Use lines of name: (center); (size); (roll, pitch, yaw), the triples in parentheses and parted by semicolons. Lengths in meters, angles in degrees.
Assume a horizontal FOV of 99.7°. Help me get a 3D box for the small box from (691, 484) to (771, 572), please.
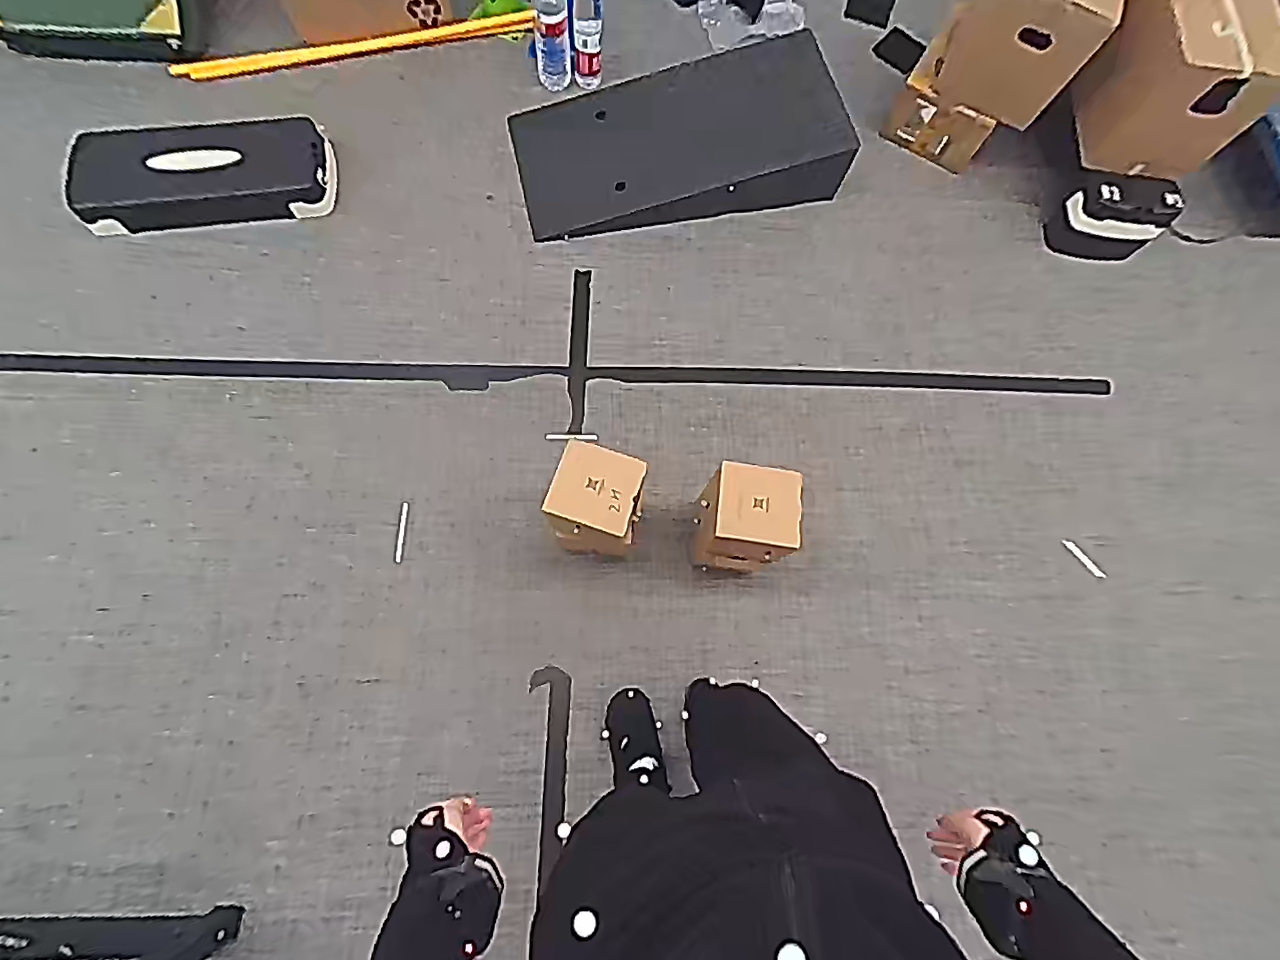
small box: (0.224, 0.125, 1.331); (0.168, 0.176, 0.179); (8, 72, -3)

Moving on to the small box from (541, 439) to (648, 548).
small box: (-0.094, 0.037, 1.158); (0.179, 0.176, 0.168); (19, 74, 2)

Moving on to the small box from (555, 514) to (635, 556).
small box: (-0.105, 0.087, 1.315); (0.179, 0.176, 0.168); (7, 73, -3)

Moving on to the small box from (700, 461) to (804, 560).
small box: (0.239, 0.075, 1.177); (0.179, 0.176, 0.168); (9, 72, -2)
